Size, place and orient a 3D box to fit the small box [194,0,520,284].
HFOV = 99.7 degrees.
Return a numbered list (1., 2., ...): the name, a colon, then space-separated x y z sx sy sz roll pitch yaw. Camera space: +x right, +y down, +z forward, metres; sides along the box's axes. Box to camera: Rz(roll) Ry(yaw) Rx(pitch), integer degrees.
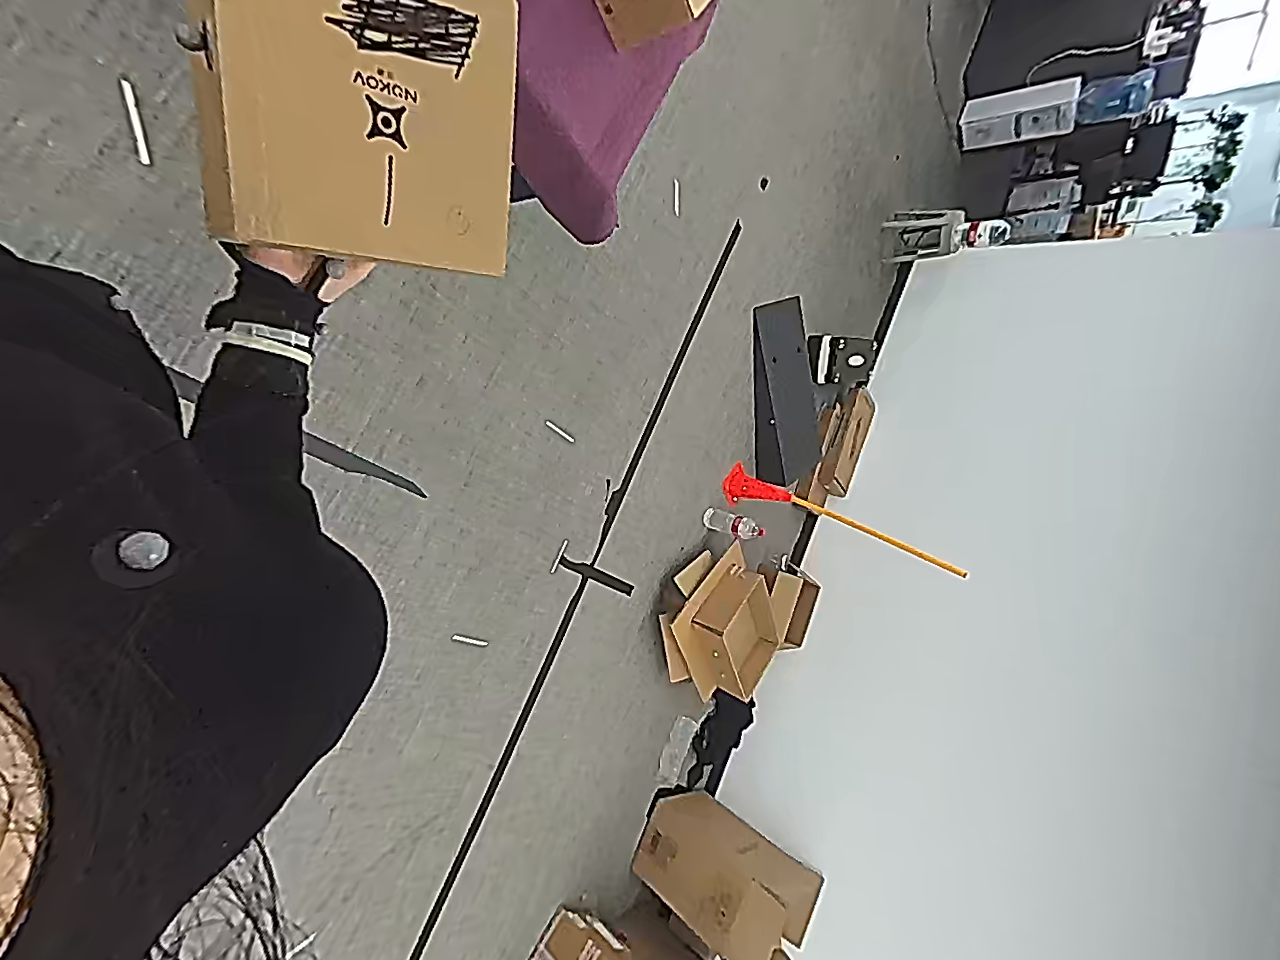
1. small box: -0.205 -0.250 0.392 0.168 0.176 0.179 -8 114 -41
